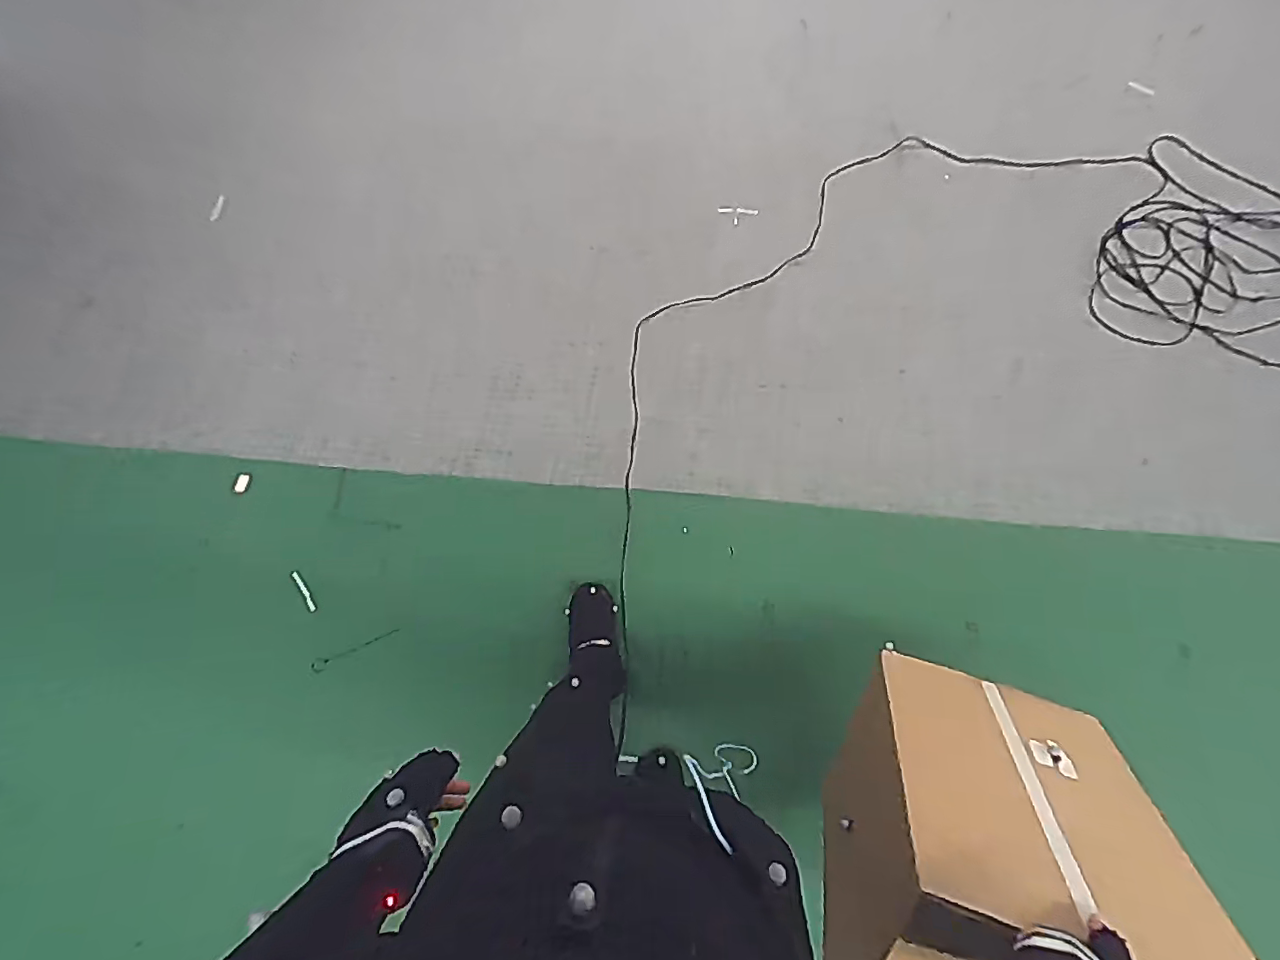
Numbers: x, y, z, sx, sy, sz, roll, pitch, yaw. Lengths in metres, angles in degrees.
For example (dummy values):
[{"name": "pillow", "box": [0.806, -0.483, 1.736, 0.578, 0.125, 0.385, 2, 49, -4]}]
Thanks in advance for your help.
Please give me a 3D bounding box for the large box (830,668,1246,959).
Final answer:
[{"name": "large box", "box": [0.447, 0.532, 0.704, 0.320, 0.408, 0.320, 16, 110, 13]}]
